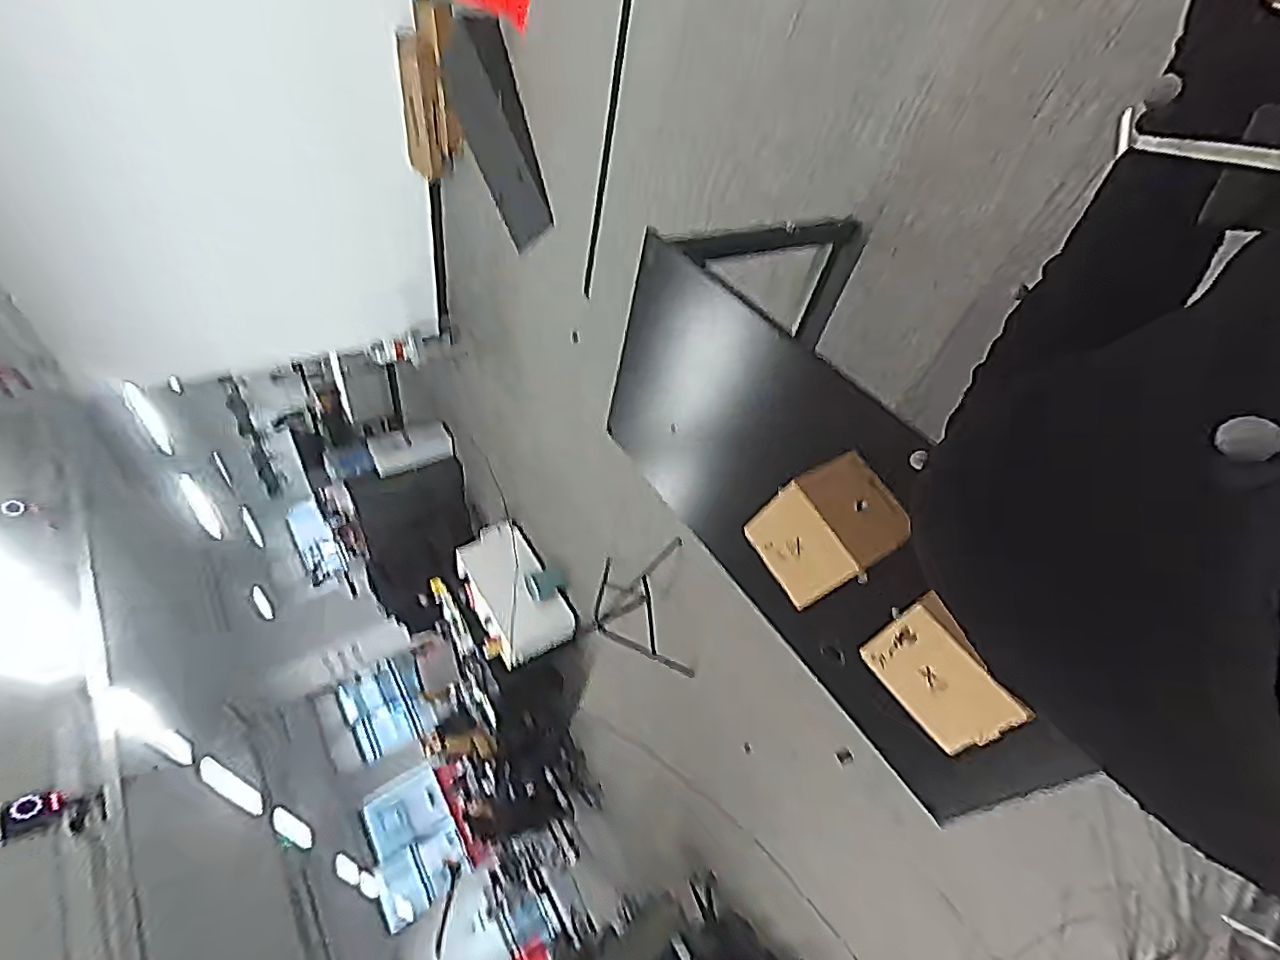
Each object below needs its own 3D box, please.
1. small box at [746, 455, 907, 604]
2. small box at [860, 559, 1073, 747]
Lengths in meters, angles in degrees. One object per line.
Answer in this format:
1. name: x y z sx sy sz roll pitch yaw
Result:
1. small box: 0.323 0.081 0.929 0.168 0.176 0.179 57 148 19
2. small box: 0.476 0.248 0.796 0.179 0.176 0.168 50 145 26
